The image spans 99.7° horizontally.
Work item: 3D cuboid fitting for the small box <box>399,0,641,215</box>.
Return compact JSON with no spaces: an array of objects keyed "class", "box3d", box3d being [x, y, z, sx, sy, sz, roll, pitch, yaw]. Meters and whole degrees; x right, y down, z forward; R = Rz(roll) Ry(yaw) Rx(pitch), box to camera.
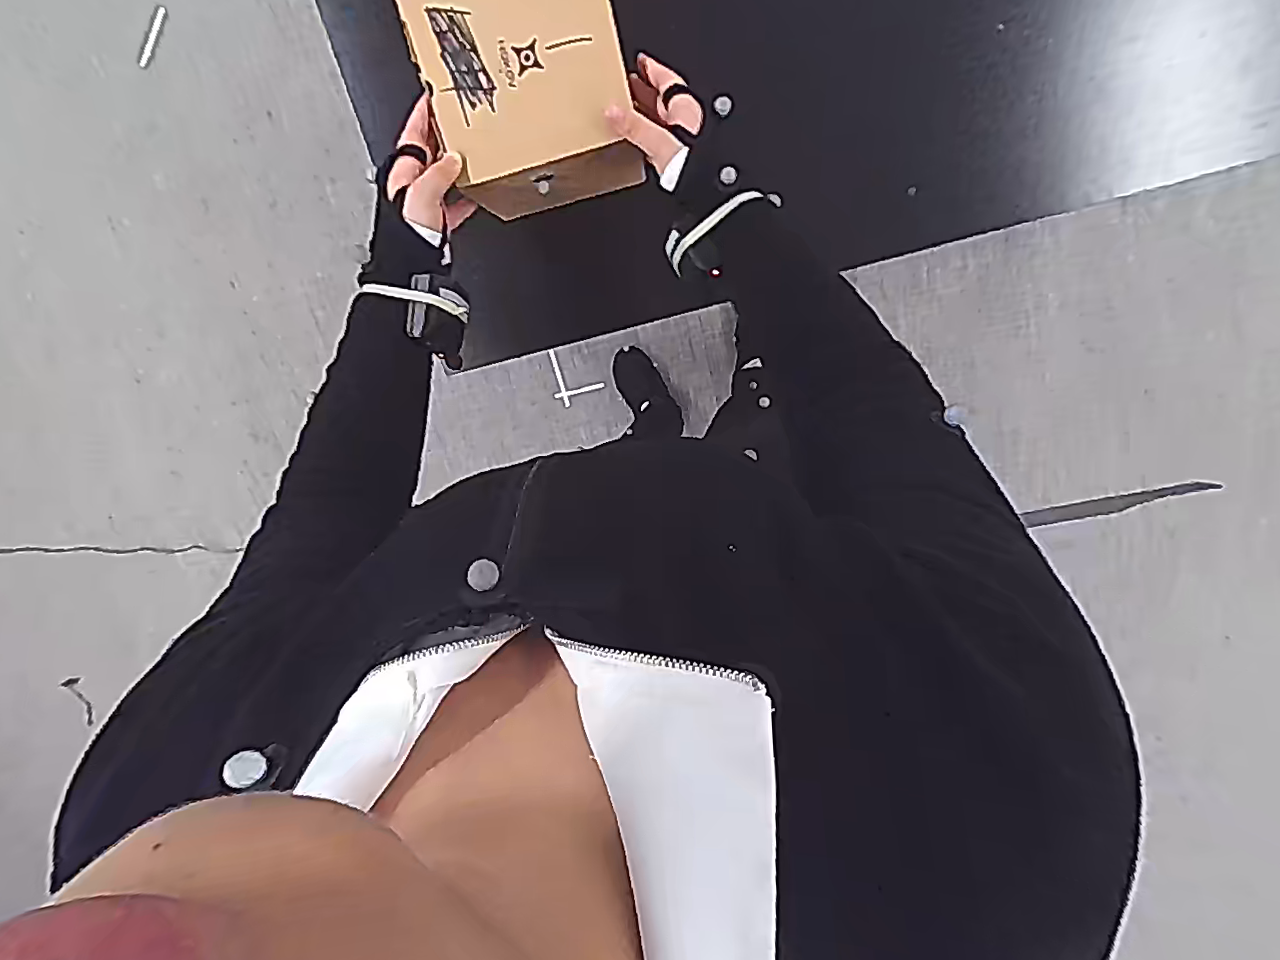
[{"class":"small box","box3d":[-0.102,-0.384,0.544,0.179,0.176,0.168,-12,106,5]}]
